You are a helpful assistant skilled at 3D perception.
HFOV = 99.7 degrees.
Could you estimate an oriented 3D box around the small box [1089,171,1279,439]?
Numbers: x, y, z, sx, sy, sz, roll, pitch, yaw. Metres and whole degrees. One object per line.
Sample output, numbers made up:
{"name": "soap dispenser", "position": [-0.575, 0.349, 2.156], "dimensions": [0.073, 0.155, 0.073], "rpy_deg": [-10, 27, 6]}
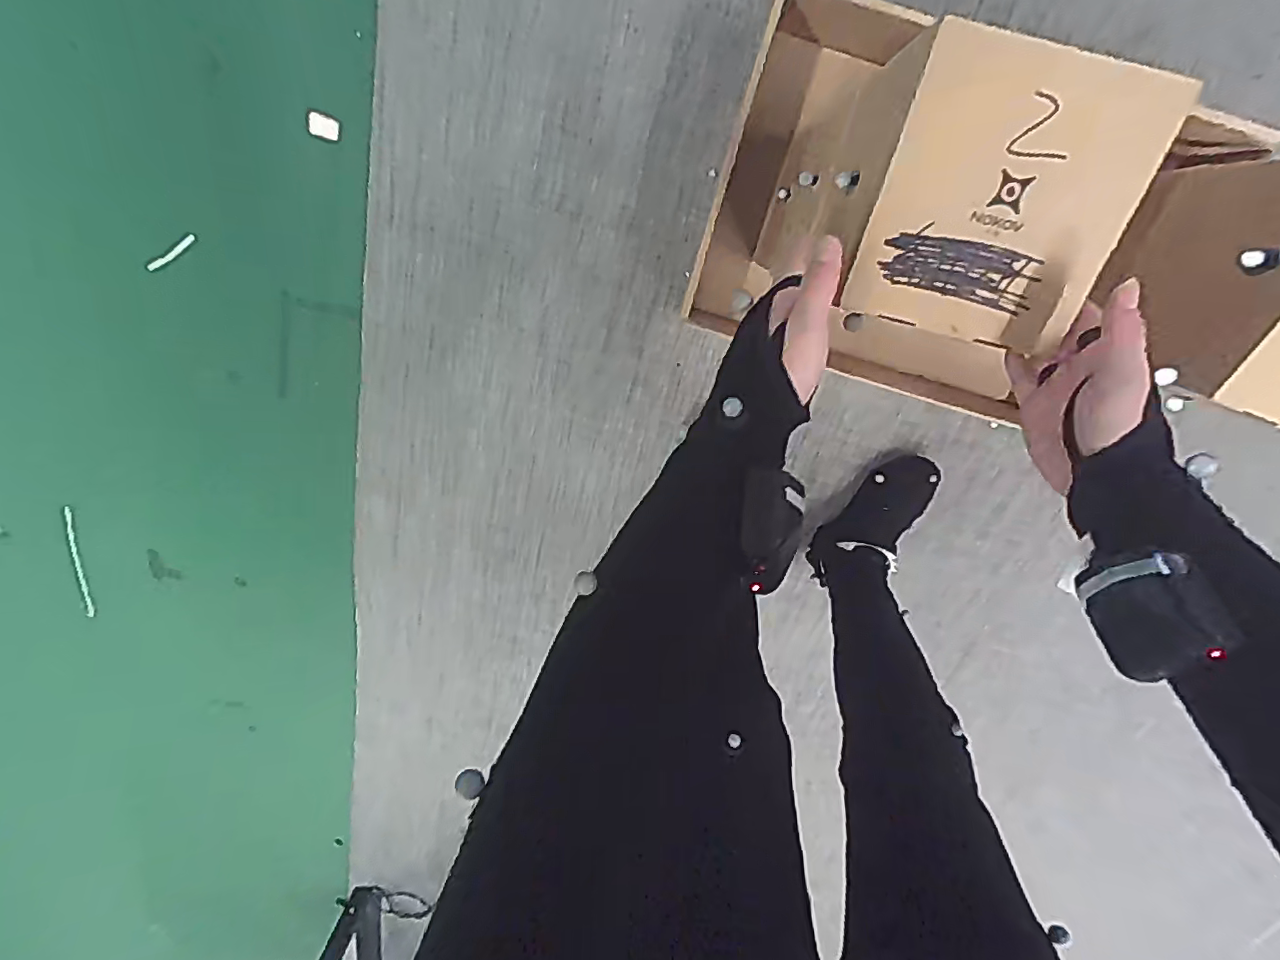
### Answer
{"name": "small box", "position": [0.537, -0.136, 0.442], "dimensions": [0.168, 0.176, 0.179], "rpy_deg": [20, 116, -4]}

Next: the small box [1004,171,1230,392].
{"name": "small box", "position": [0.551, -0.209, 0.590], "dimensions": [0.168, 0.176, 0.179], "rpy_deg": [20, 116, -5]}

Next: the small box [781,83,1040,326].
{"name": "small box", "position": [0.261, -0.281, 0.579], "dimensions": [0.168, 0.176, 0.179], "rpy_deg": [15, 114, 0]}
